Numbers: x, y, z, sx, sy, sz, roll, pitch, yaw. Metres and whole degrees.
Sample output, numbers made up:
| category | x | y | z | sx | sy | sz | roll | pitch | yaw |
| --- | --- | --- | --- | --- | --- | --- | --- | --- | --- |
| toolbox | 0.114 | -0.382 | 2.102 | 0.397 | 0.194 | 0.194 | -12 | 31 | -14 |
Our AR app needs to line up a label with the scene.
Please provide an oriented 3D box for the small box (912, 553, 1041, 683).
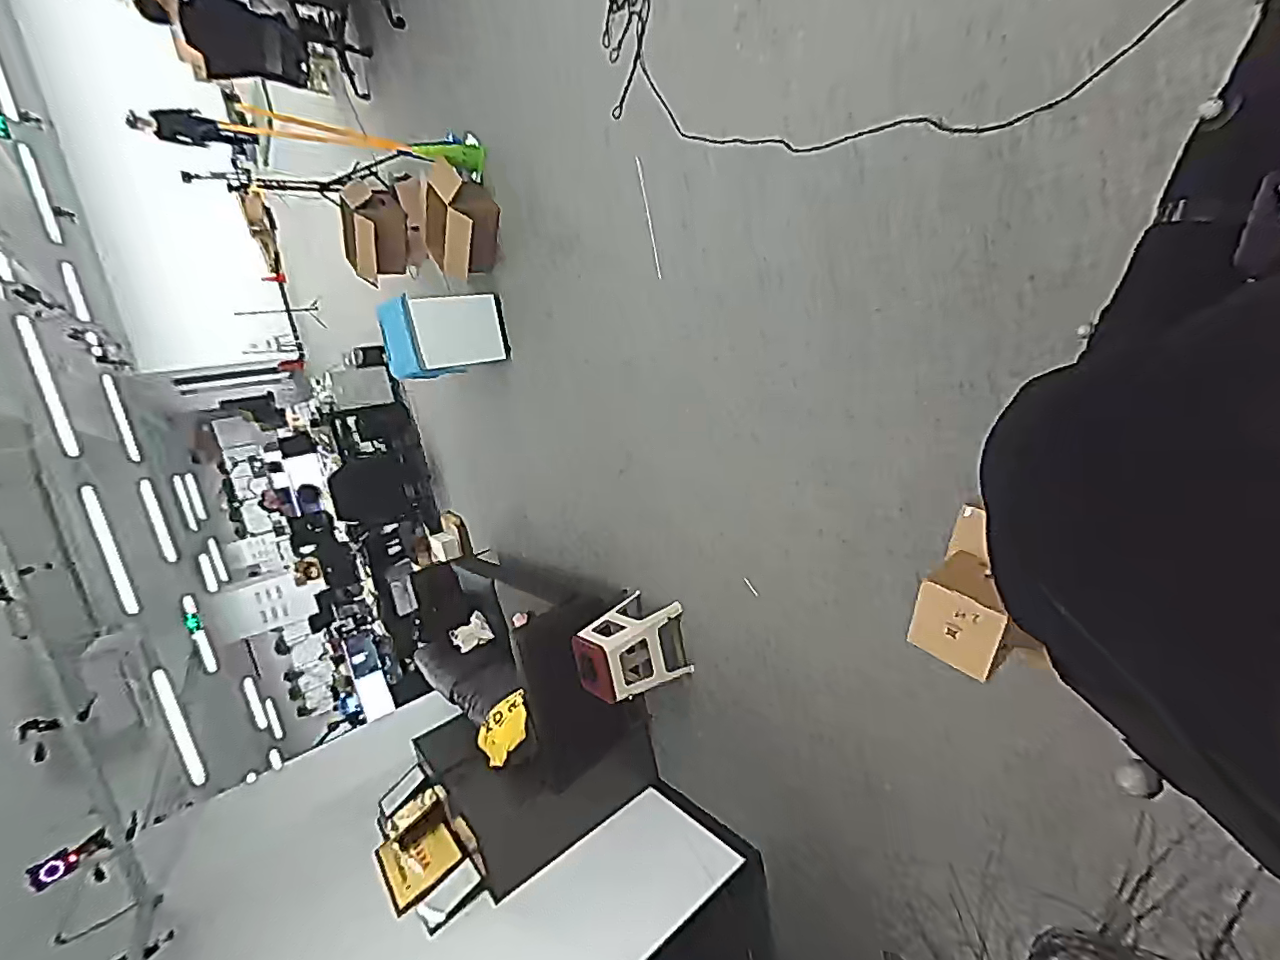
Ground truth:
| category | x | y | z | sx | sy | sz | roll | pitch | yaw |
| --- | --- | --- | --- | --- | --- | --- | --- | --- | --- |
| small box | 0.716 | 0.286 | 1.153 | 0.168 | 0.176 | 0.179 | 28 | 128 | 45 |
